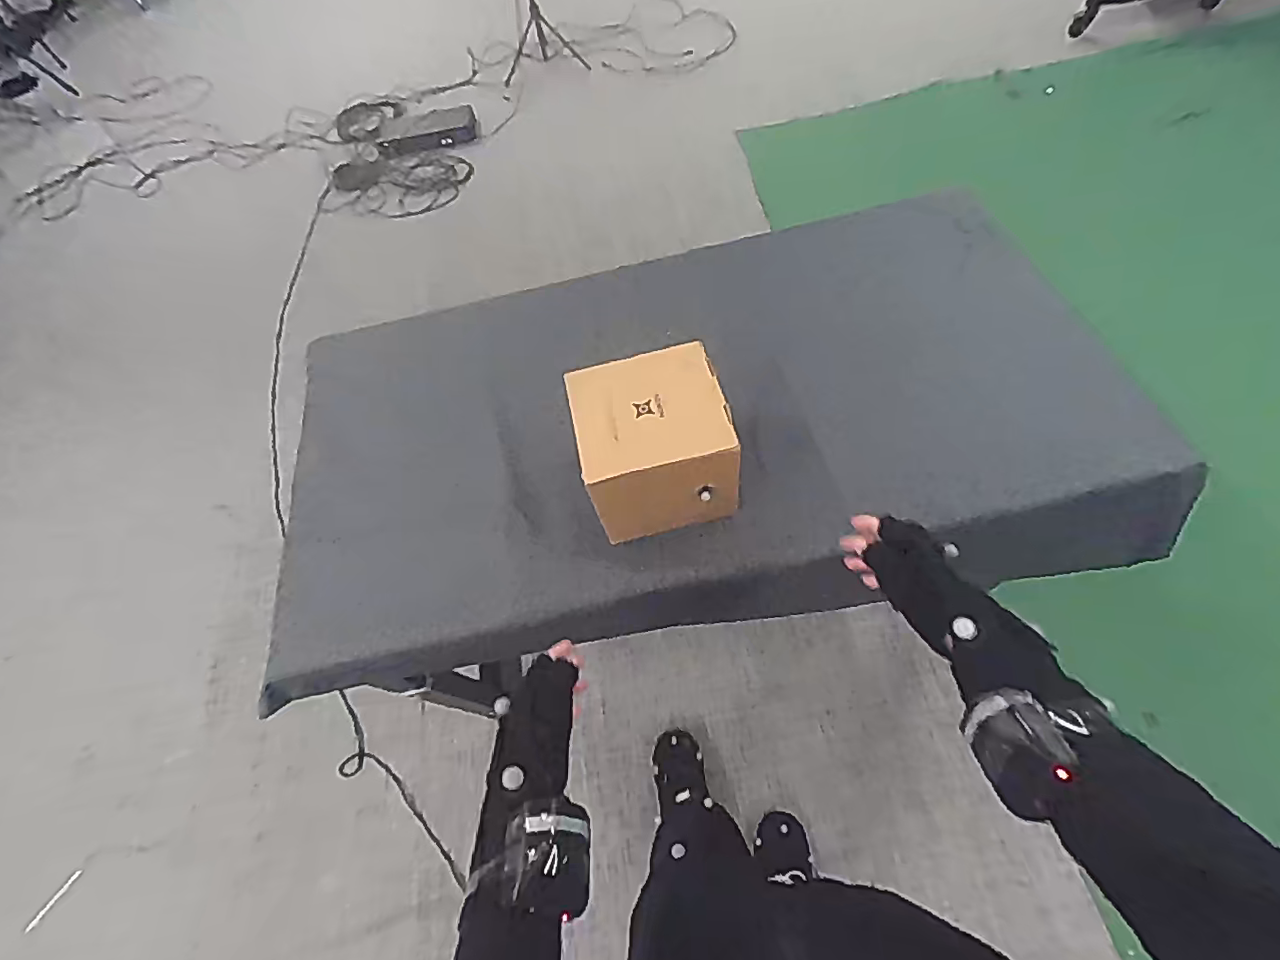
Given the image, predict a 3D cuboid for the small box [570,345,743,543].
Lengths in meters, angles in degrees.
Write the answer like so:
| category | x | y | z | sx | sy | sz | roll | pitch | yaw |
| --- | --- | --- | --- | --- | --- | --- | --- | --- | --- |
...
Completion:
| category | x | y | z | sx | sy | sz | roll | pitch | yaw |
| --- | --- | --- | --- | --- | --- | --- | --- | --- | --- |
| small box | 0.023 | -0.040 | 0.696 | 0.179 | 0.176 | 0.168 | -15 | 58 | 1 |
